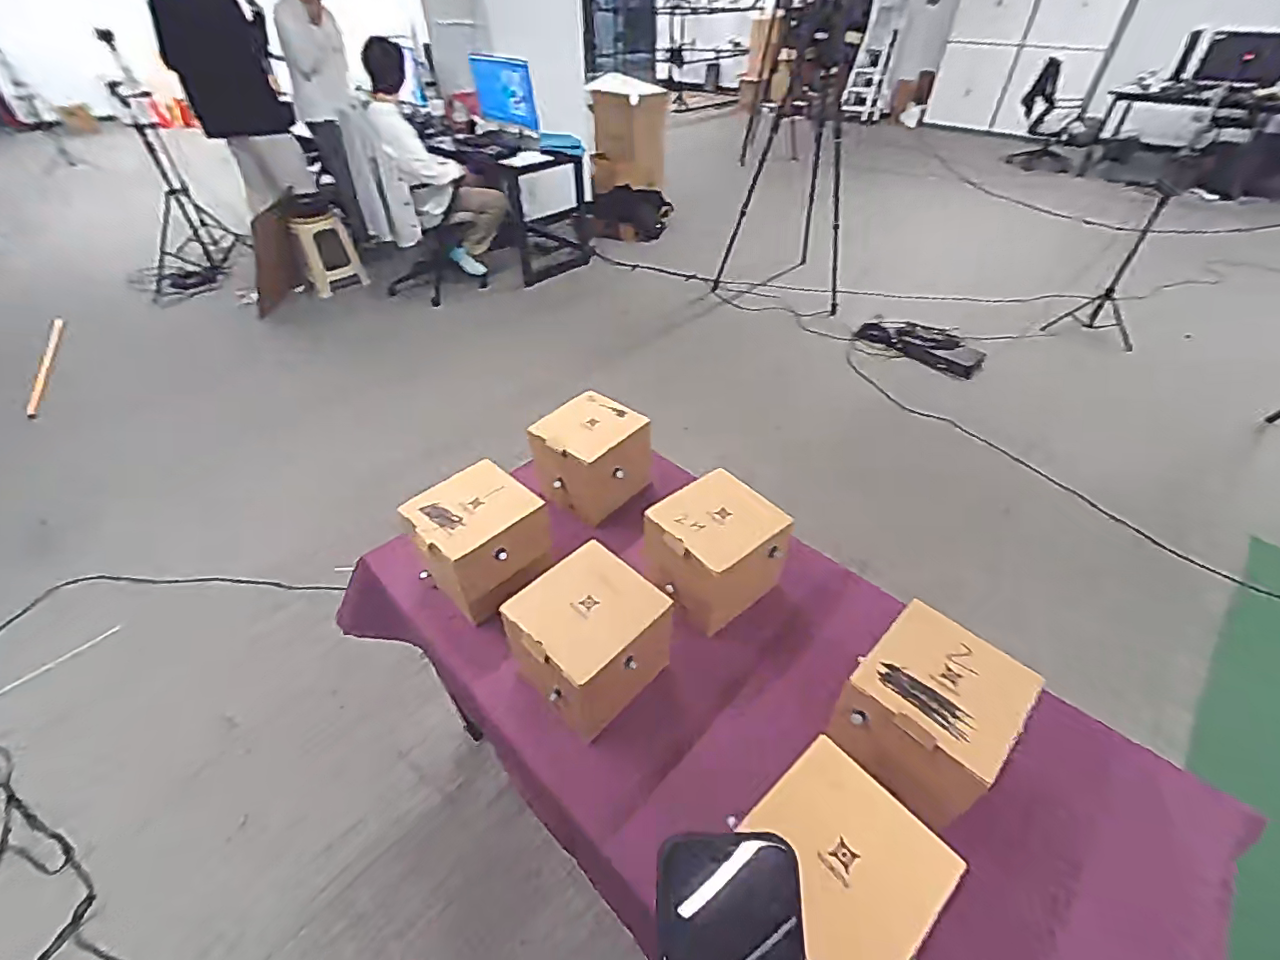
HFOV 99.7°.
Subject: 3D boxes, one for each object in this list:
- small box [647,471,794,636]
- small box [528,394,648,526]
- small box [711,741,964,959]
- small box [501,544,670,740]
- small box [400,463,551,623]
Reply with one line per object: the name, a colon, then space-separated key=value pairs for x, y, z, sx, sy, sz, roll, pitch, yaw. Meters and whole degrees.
small box: x=0.125 y=0.121 z=0.904 sx=0.179 sy=0.176 sz=0.168 roll=-29 pitch=49 yaw=-27
small box: x=-0.095 y=-0.039 z=1.085 sx=0.168 sy=0.176 sz=0.179 roll=30 pitch=51 yaw=28
small box: x=0.190 y=0.425 z=0.568 sx=0.179 sy=0.176 sz=0.168 roll=-30 pitch=50 yaw=-28
small box: x=-0.072 y=0.235 z=0.784 sx=0.168 sy=0.176 sz=0.179 roll=34 pitch=51 yaw=31
small box: x=-0.271 y=0.107 z=0.924 sx=0.168 sy=0.176 sz=0.179 roll=33 pitch=50 yaw=30
